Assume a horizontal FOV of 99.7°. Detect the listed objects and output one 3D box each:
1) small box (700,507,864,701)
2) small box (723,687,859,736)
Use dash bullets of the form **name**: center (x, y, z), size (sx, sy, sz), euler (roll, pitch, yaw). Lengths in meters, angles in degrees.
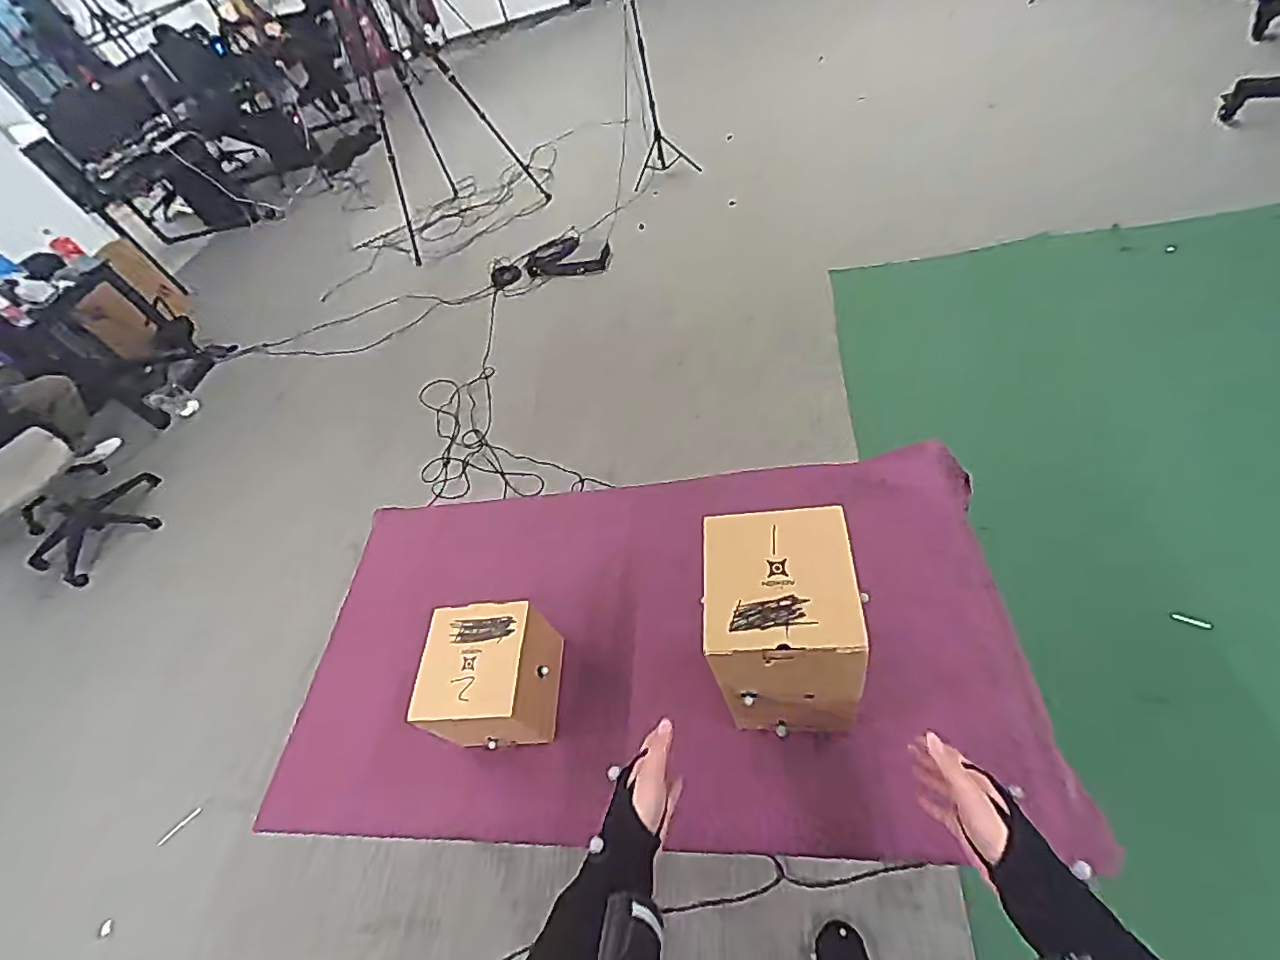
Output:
- **small box**: center (0.170, 0.156, 0.653), size (0.168, 0.176, 0.179), euler (-6, 50, 15)
- **small box**: center (0.212, 0.252, 0.779), size (0.168, 0.176, 0.179), euler (-5, 51, 15)
